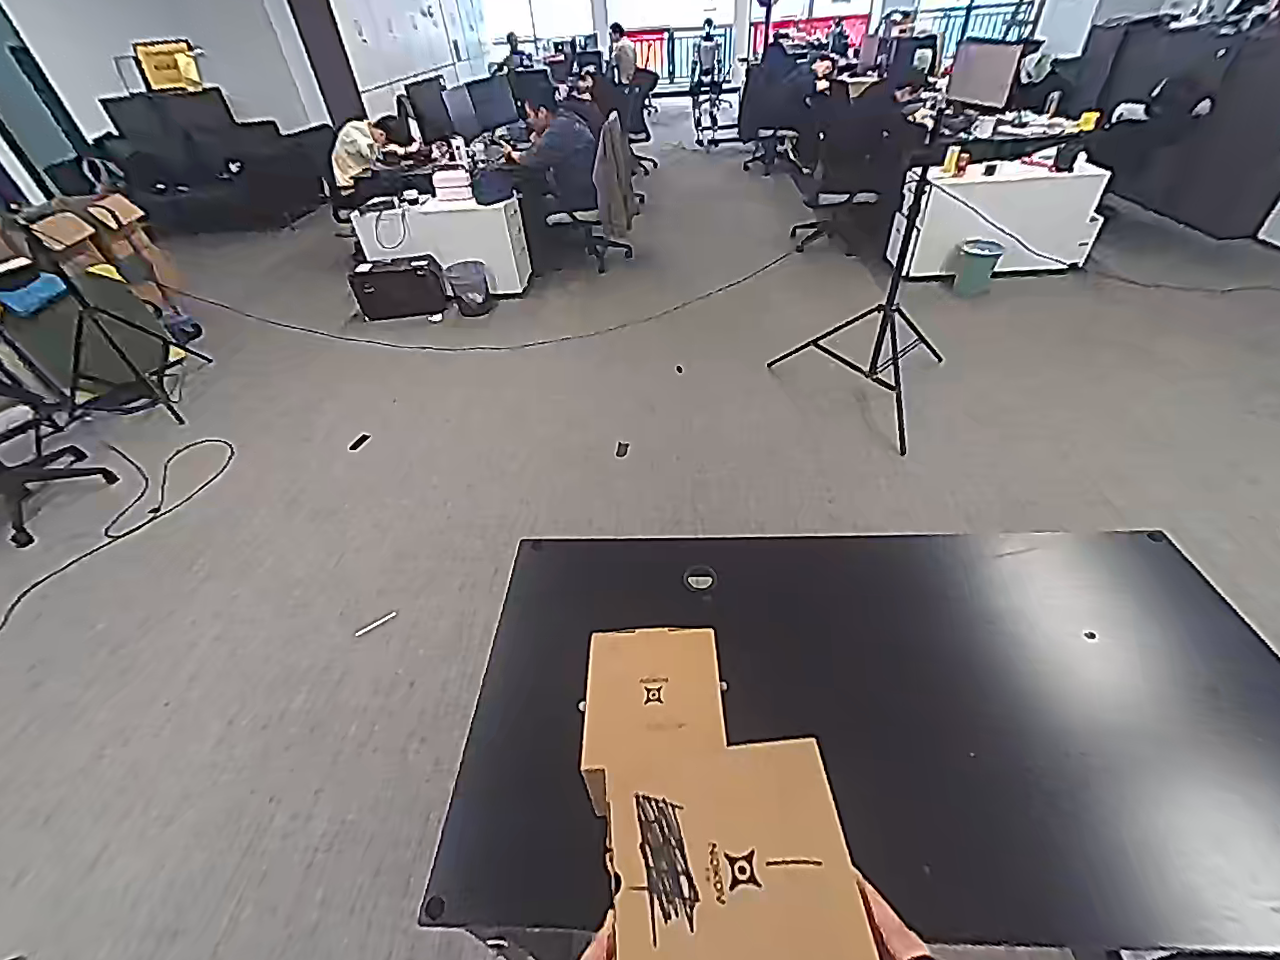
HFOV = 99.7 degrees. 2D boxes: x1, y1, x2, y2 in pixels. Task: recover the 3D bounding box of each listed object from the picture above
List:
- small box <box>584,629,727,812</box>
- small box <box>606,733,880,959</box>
[{"bbox_3d":[0.023,0.320,0.712,0.168,0.176,0.179,-4,42,3],"label":"small box"},{"bbox_3d":[0.069,0.330,0.446,0.179,0.176,0.168,-5,46,-1],"label":"small box"}]
